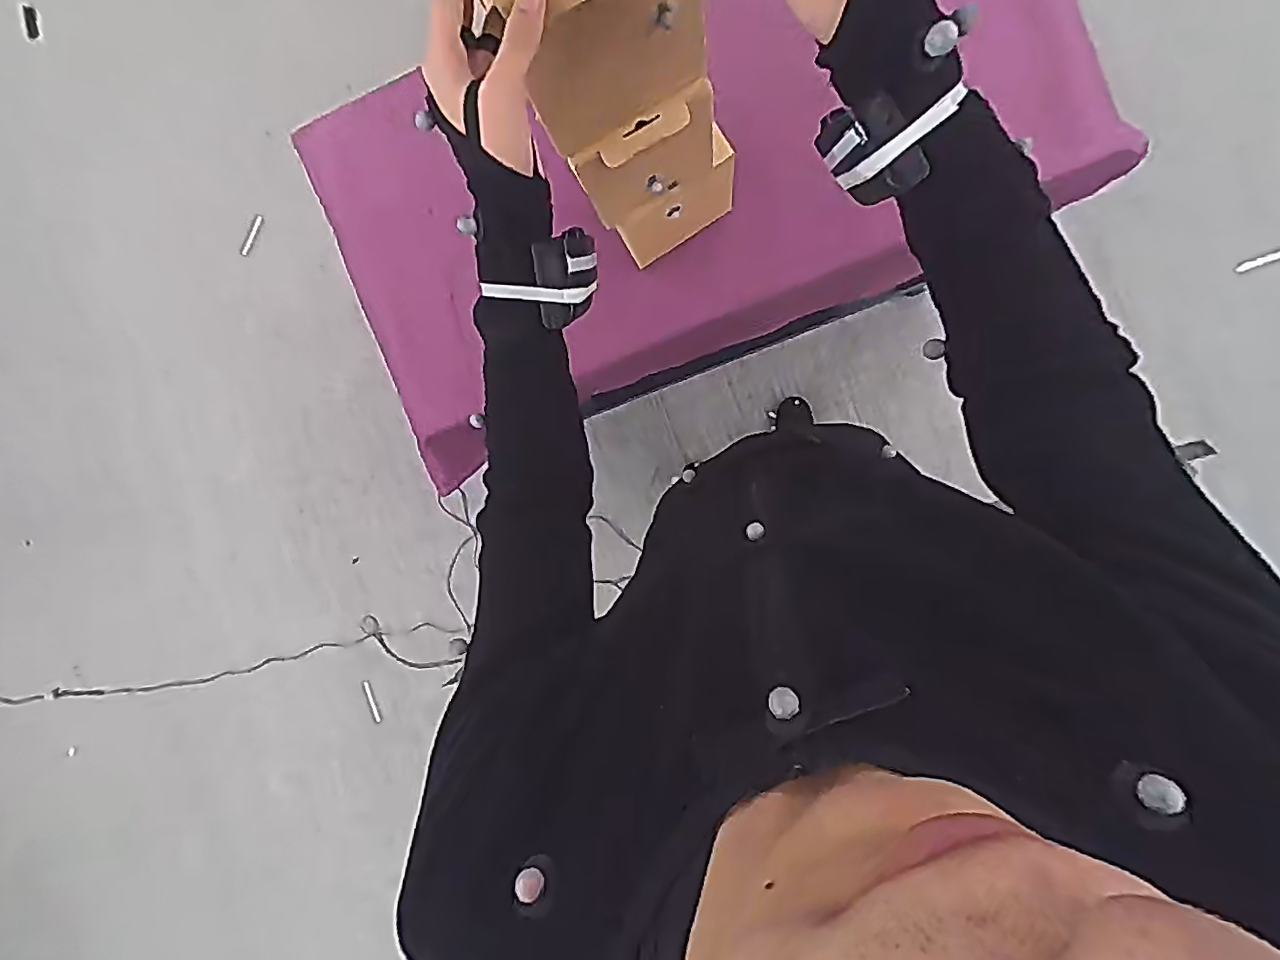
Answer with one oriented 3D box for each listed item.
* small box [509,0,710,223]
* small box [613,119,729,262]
[{"bbox_3d":[-0.026,-0.453,0.652,0.168,0.176,0.179,-26,89,9],"label":"small box"},{"bbox_3d":[0.020,-0.462,0.811,0.179,0.176,0.168,-31,88,7],"label":"small box"}]
